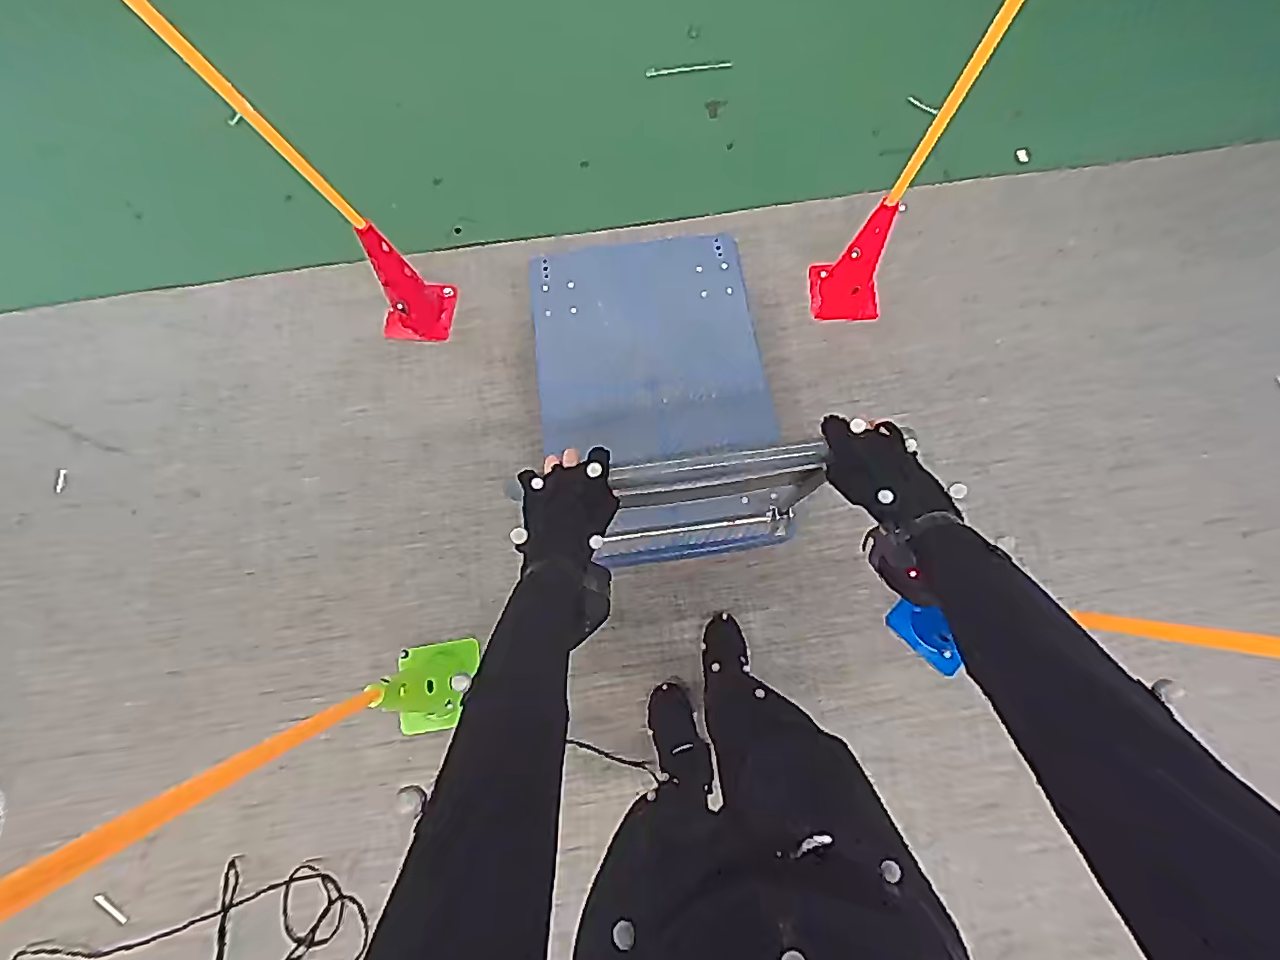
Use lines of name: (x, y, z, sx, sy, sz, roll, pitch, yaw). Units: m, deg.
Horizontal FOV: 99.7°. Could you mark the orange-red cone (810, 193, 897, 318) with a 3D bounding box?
orange-red cone: (0.612, -0.627, 1.475, 0.198, 0.360, 0.199, 2, 74, 3)
